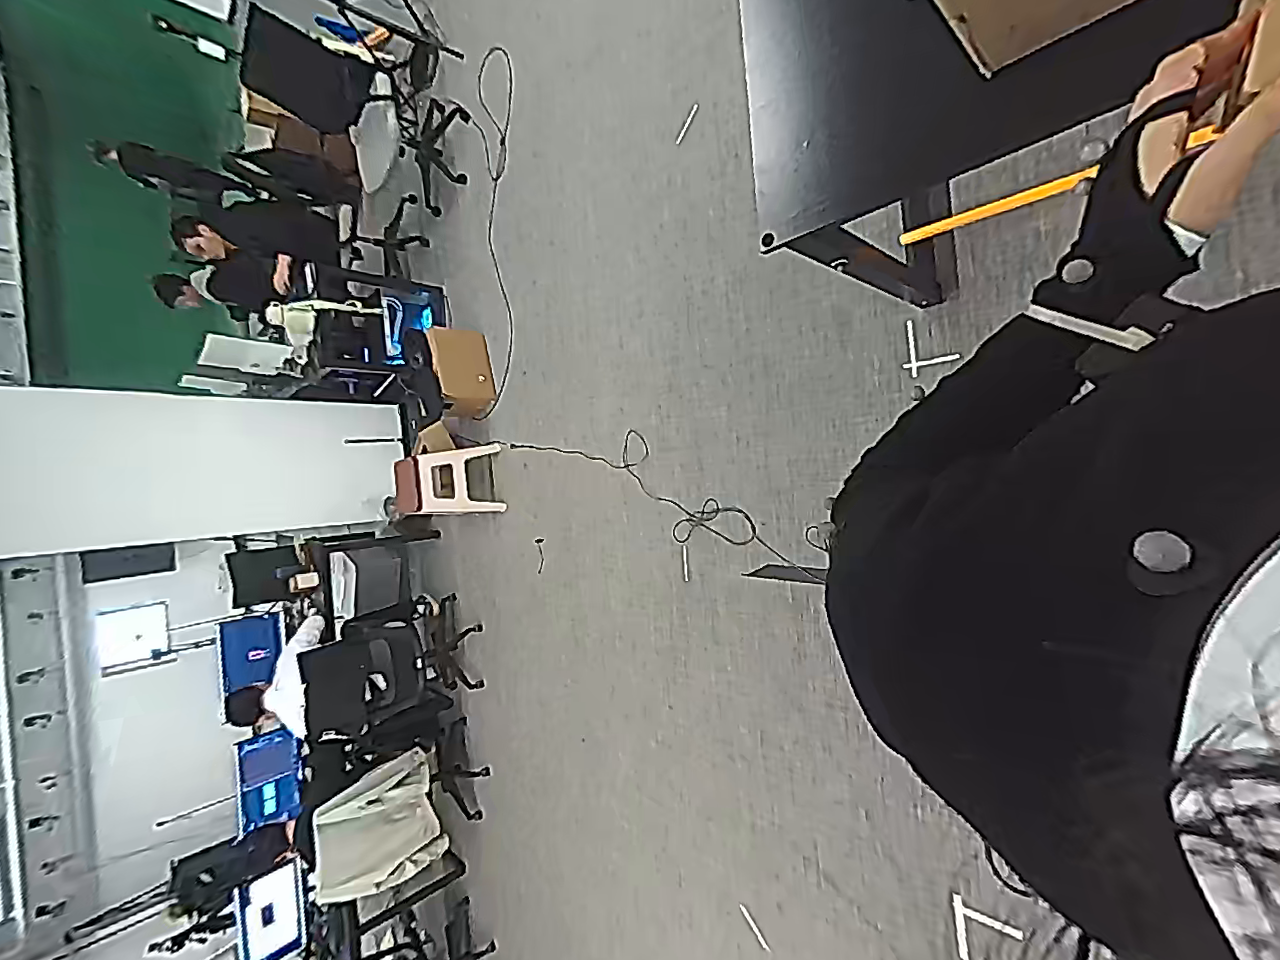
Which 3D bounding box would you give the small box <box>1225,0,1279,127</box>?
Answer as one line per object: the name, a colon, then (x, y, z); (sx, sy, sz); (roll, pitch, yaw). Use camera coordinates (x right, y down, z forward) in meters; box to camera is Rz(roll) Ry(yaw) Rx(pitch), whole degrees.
small box: (0.425, -0.303, 0.264); (0.168, 0.176, 0.179); (11, 116, 41)
